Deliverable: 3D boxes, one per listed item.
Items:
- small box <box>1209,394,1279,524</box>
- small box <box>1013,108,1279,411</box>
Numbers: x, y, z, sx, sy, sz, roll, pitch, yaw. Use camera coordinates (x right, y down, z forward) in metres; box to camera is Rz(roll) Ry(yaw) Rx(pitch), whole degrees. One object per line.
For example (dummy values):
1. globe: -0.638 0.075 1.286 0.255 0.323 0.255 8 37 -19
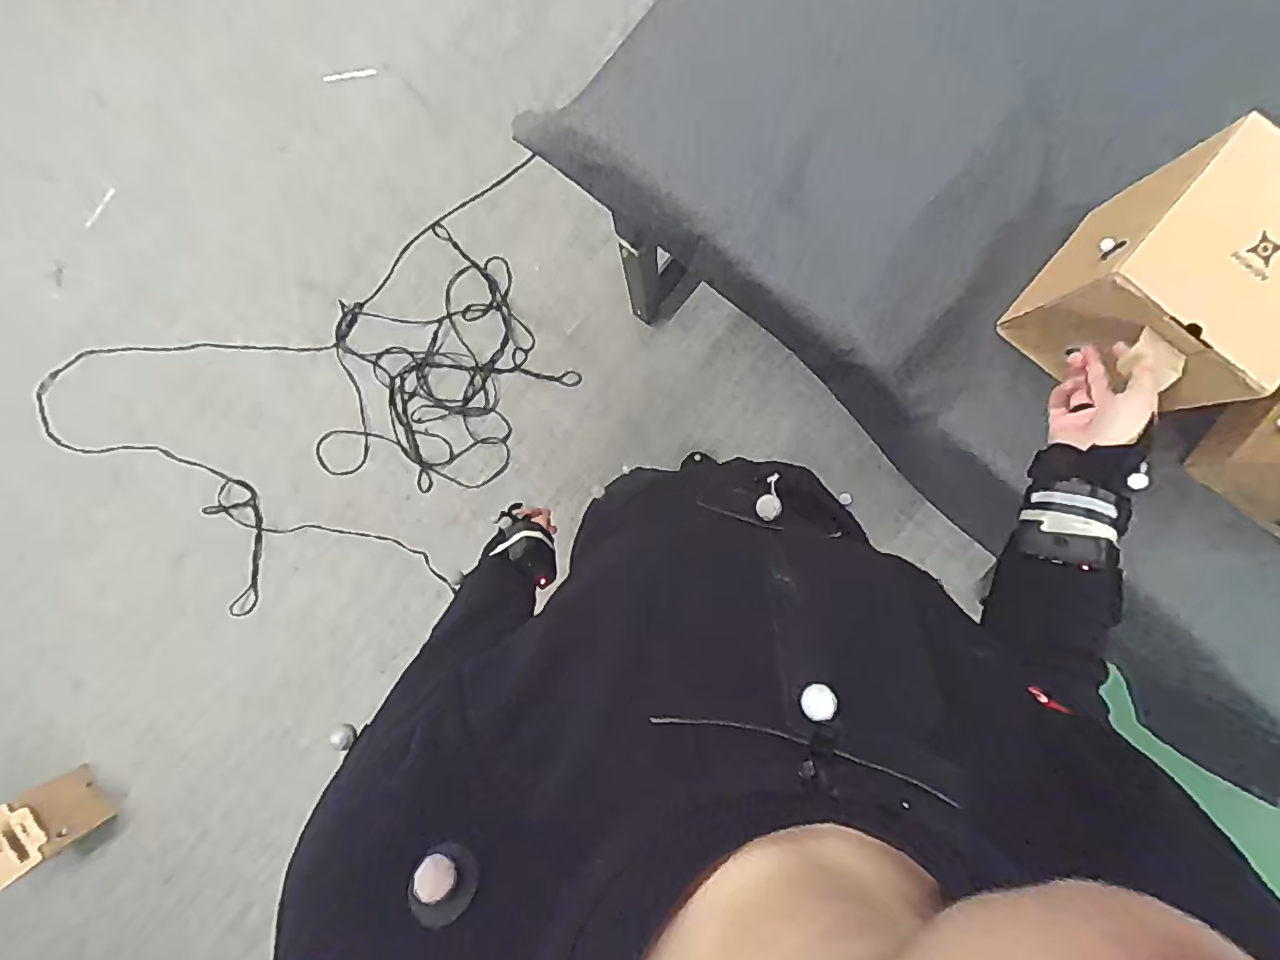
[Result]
1. small box: 0.717 -0.035 0.510 0.168 0.176 0.179 36 91 0
2. small box: 0.517 -0.187 0.519 0.168 0.176 0.179 39 92 2
